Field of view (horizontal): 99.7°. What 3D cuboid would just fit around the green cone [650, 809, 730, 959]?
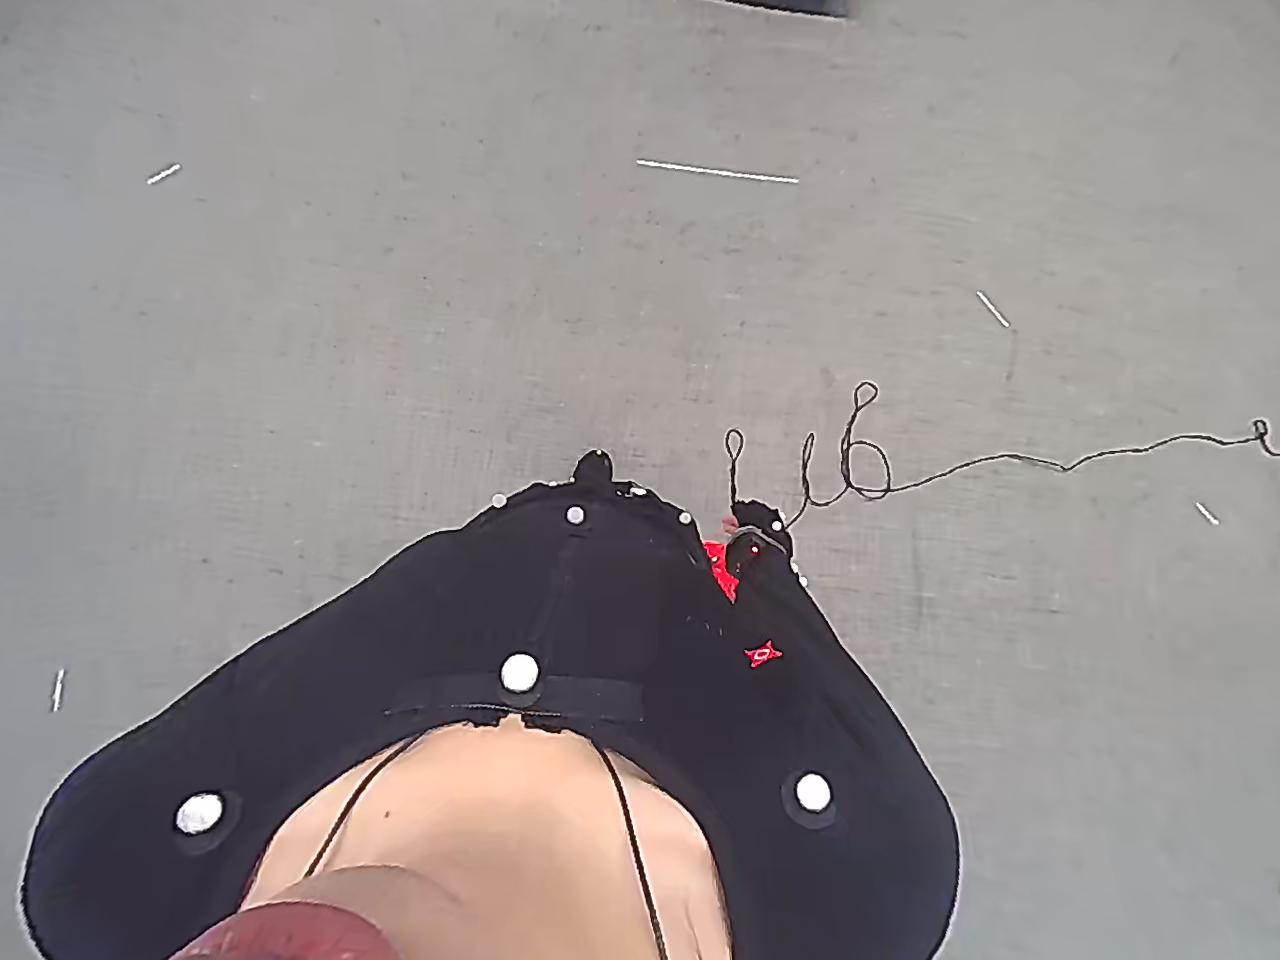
[{"bbox_3d":[0.147,0.989,1.290,0.200,0.368,0.202,8,85,-3],"label":"green cone"}]

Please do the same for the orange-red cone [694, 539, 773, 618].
[{"bbox_3d":[0.266,0.269,1.340,0.198,0.360,0.199,11,88,-1],"label":"orange-red cone"}]
